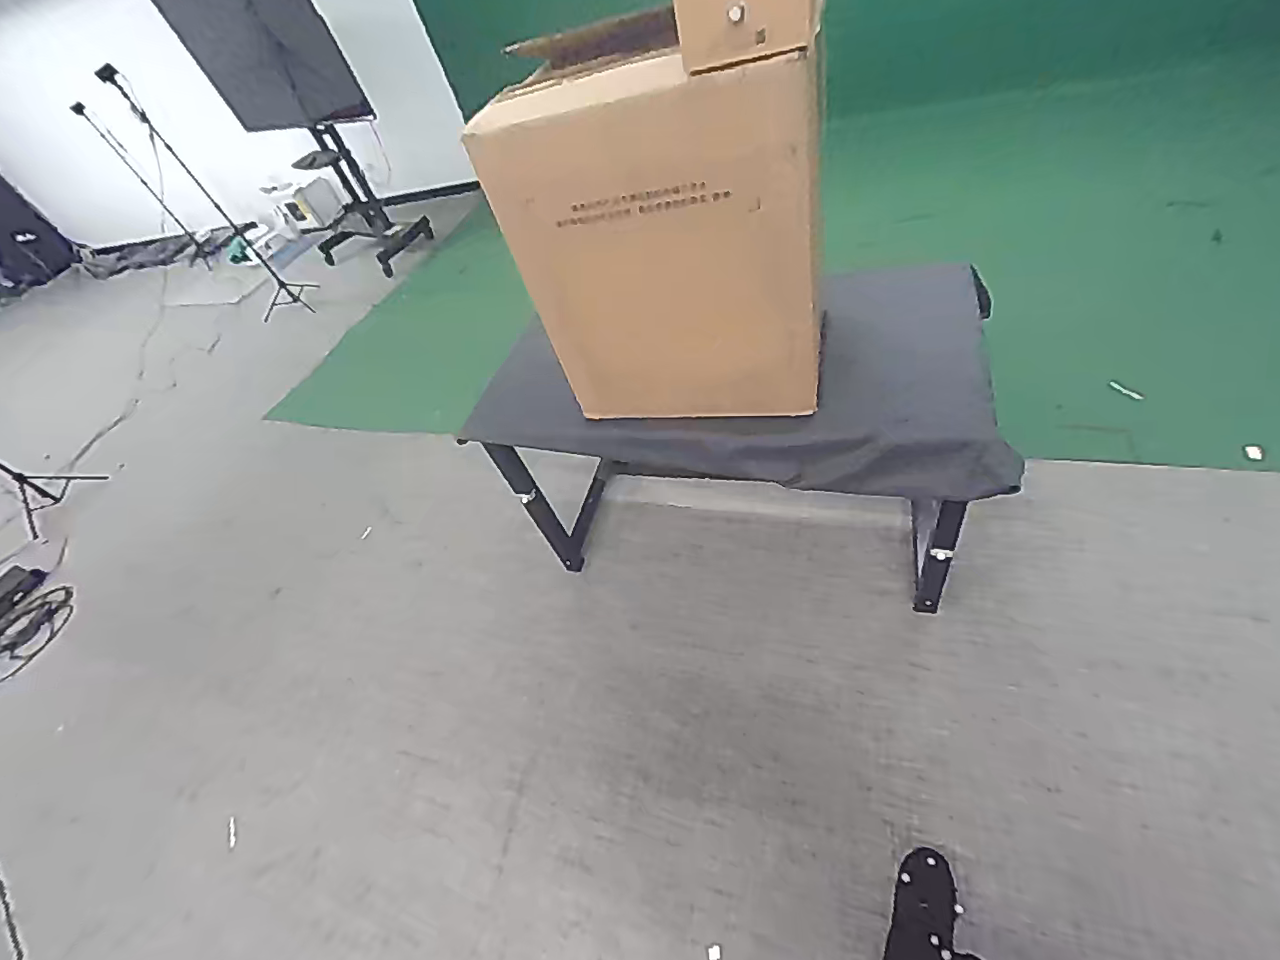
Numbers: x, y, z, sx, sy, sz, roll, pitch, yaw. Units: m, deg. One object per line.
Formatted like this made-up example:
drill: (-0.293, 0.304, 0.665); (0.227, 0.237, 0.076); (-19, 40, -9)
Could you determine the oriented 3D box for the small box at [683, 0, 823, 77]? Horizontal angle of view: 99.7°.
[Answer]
small box: (0.148, -0.654, 0.697); (0.168, 0.176, 0.179); (2, 52, 20)
